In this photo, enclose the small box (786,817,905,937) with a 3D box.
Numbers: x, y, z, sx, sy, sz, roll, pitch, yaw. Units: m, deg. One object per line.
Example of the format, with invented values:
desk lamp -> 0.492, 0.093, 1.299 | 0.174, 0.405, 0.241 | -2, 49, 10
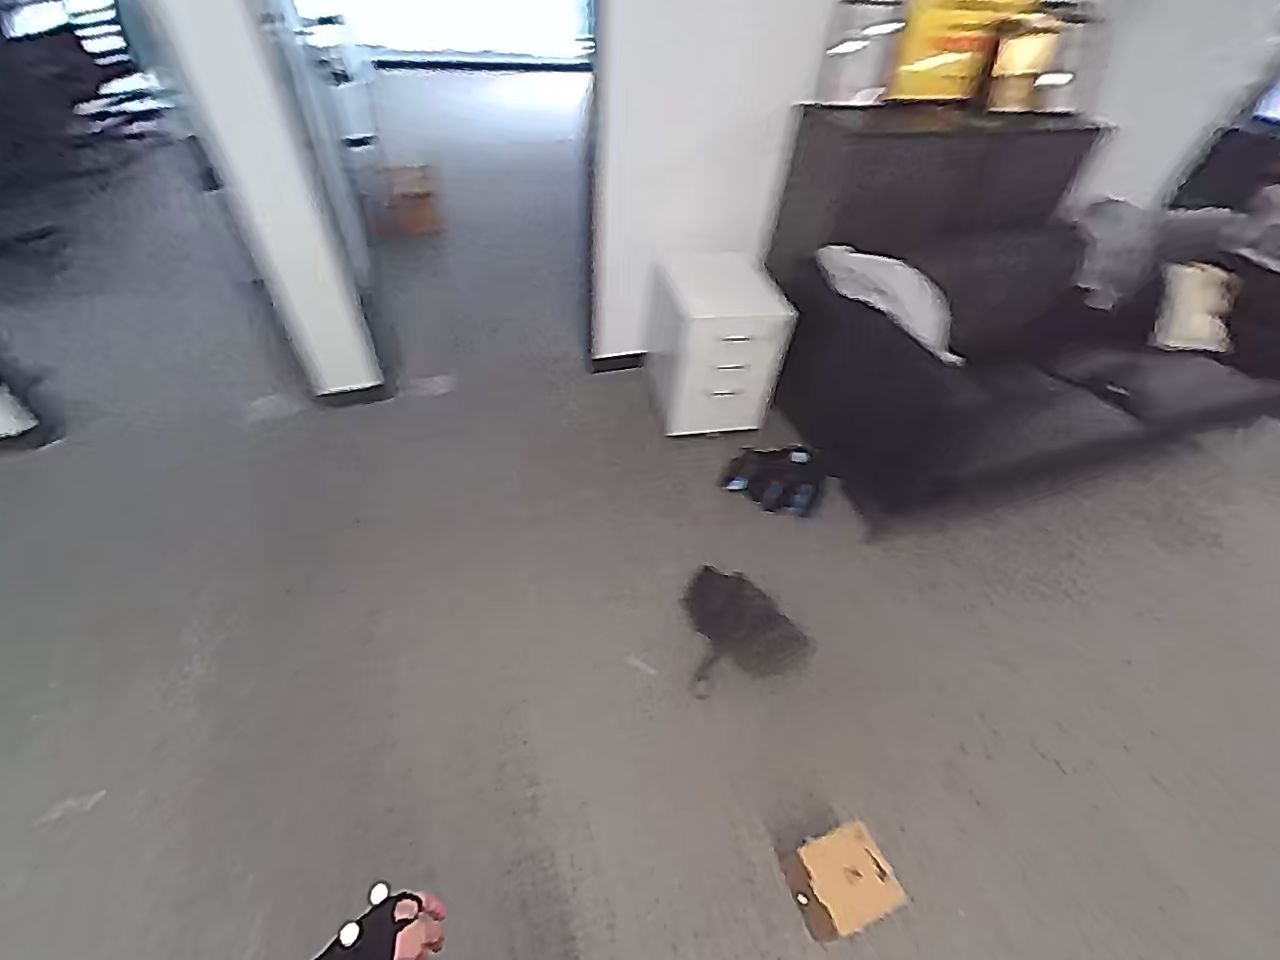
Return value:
small box -> 0.451, 0.902, 1.226 | 0.179, 0.176, 0.168 | -13, 50, -16
